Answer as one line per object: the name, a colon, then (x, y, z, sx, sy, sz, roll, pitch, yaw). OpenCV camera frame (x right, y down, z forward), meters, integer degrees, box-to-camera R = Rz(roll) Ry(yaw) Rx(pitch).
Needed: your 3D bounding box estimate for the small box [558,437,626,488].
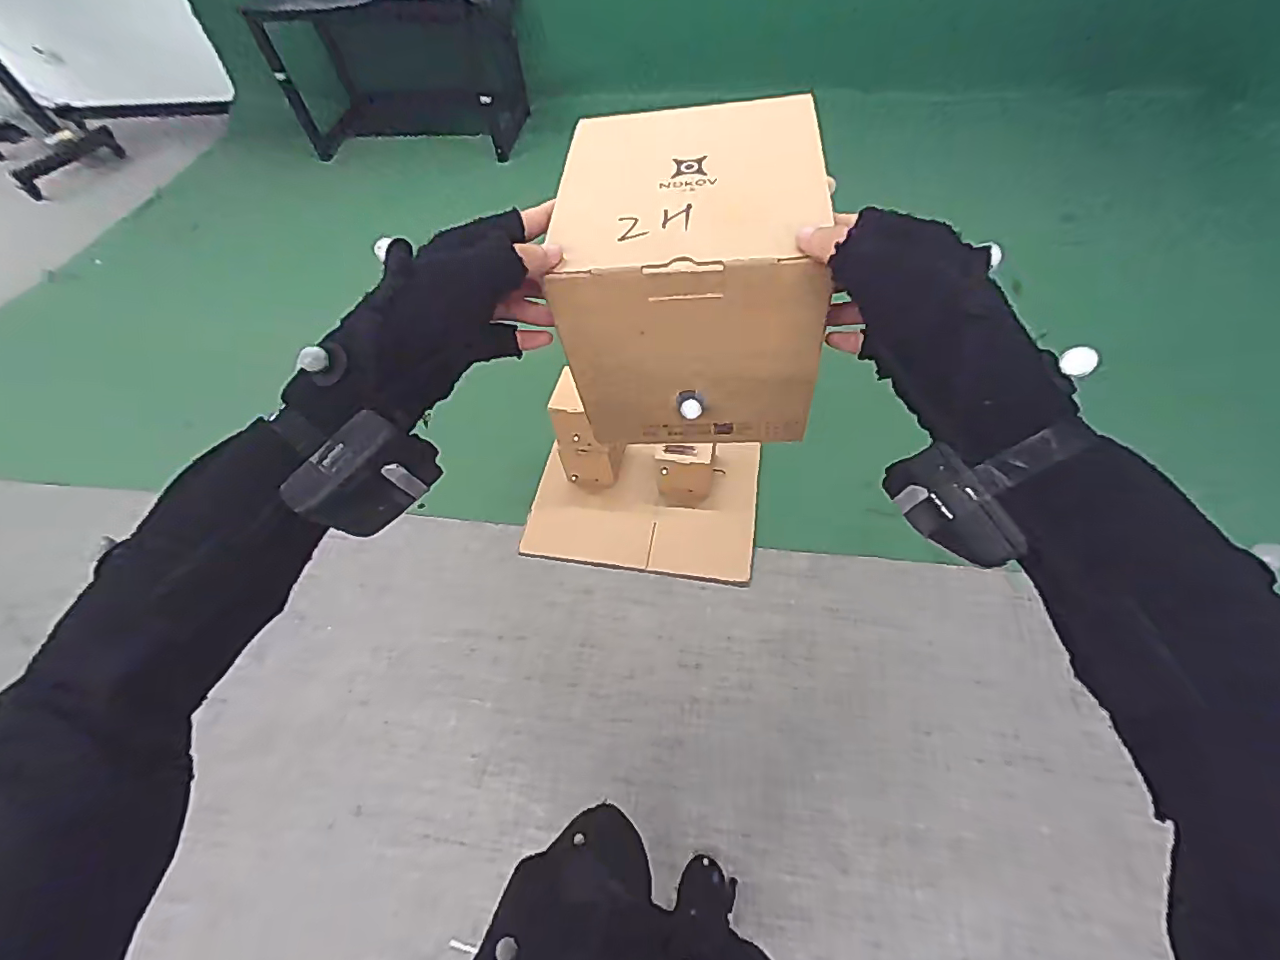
small box: (-0.145, -0.093, 1.734, 0.168, 0.176, 0.179, 7, 54, 11)

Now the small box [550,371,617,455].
small box: (-0.151, -0.198, 1.609, 0.168, 0.176, 0.179, 8, 56, 11)

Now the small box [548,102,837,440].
small box: (0.044, -0.149, 0.413, 0.168, 0.176, 0.179, 0, 57, 10)
